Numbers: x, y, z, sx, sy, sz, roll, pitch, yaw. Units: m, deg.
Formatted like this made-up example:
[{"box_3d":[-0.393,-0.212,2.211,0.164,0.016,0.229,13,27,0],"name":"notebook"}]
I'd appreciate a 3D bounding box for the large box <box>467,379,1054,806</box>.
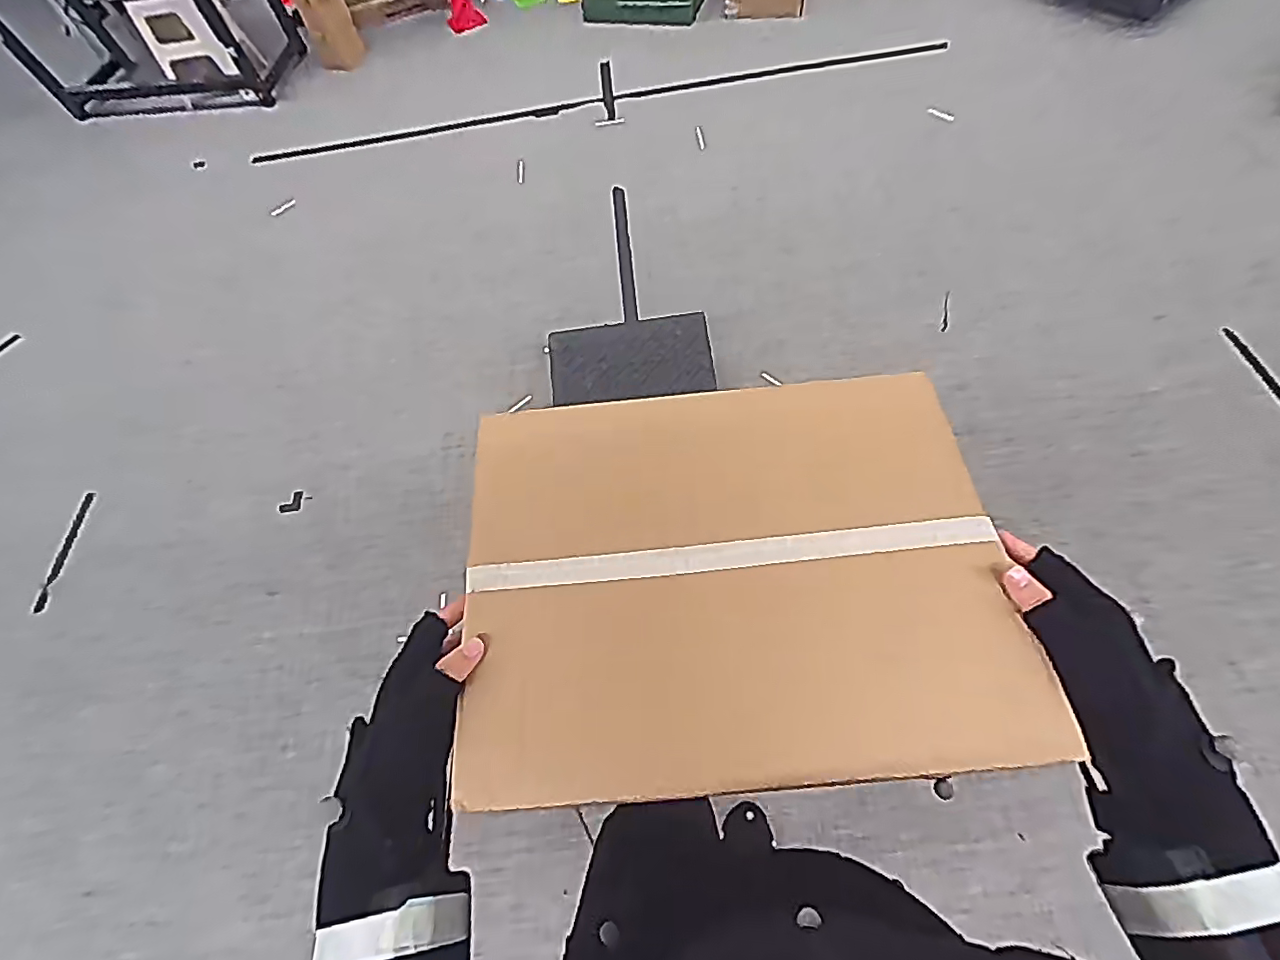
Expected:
[{"box_3d":[0.078,0.129,0.559,0.408,0.320,0.320,-5,61,1],"name":"large box"}]
